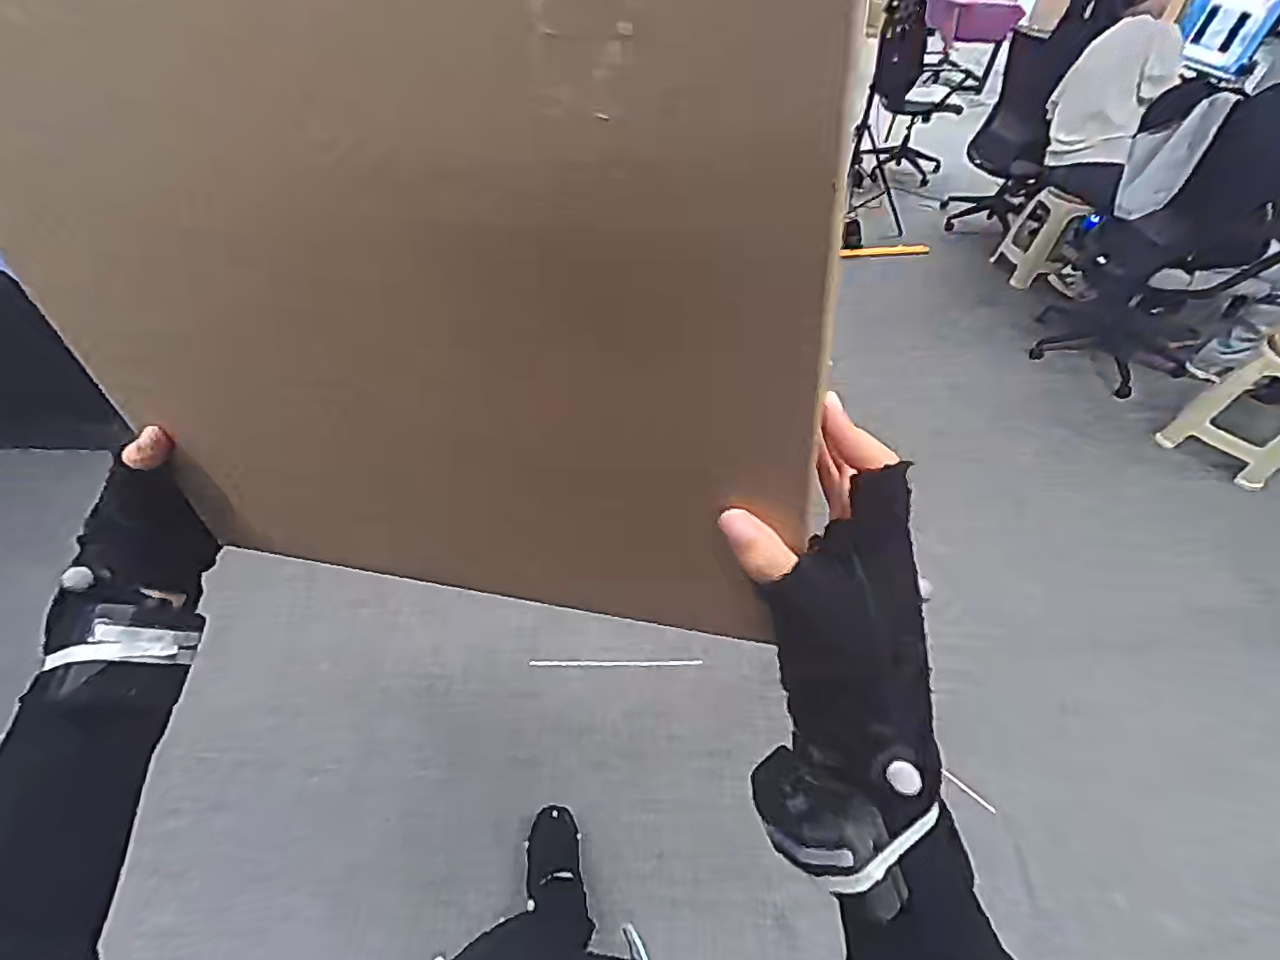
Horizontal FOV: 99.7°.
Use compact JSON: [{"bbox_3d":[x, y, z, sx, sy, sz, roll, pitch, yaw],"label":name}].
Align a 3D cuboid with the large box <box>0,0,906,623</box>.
[{"bbox_3d":[-0.075,-0.146,0.363,0.408,0.320,0.320,6,38,16],"label":"large box"}]
